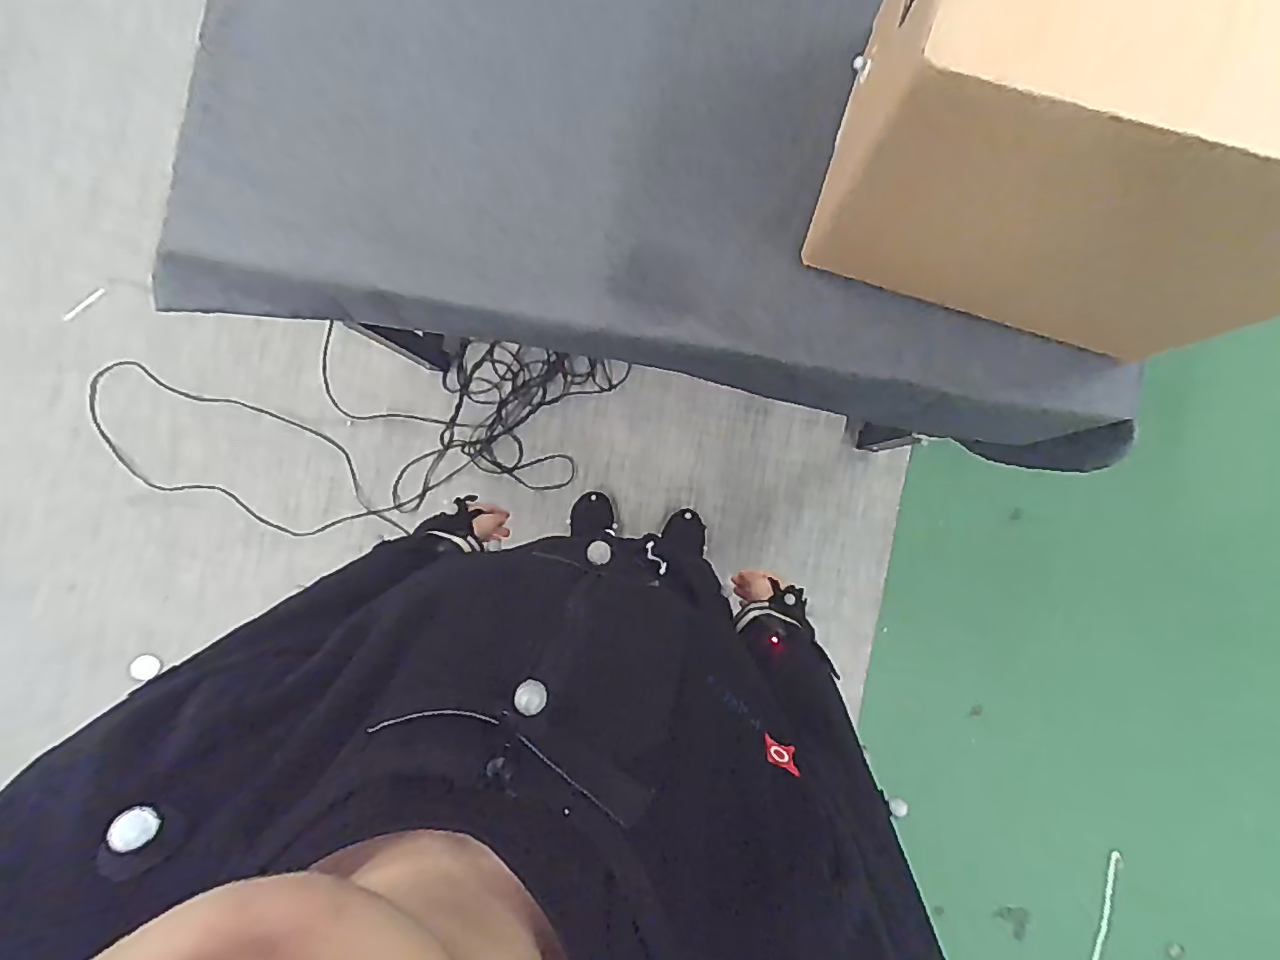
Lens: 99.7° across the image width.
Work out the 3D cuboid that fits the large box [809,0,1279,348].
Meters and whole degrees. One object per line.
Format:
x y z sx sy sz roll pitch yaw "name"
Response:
0.423 -0.356 0.495 0.408 0.320 0.320 17 90 2 "large box"
